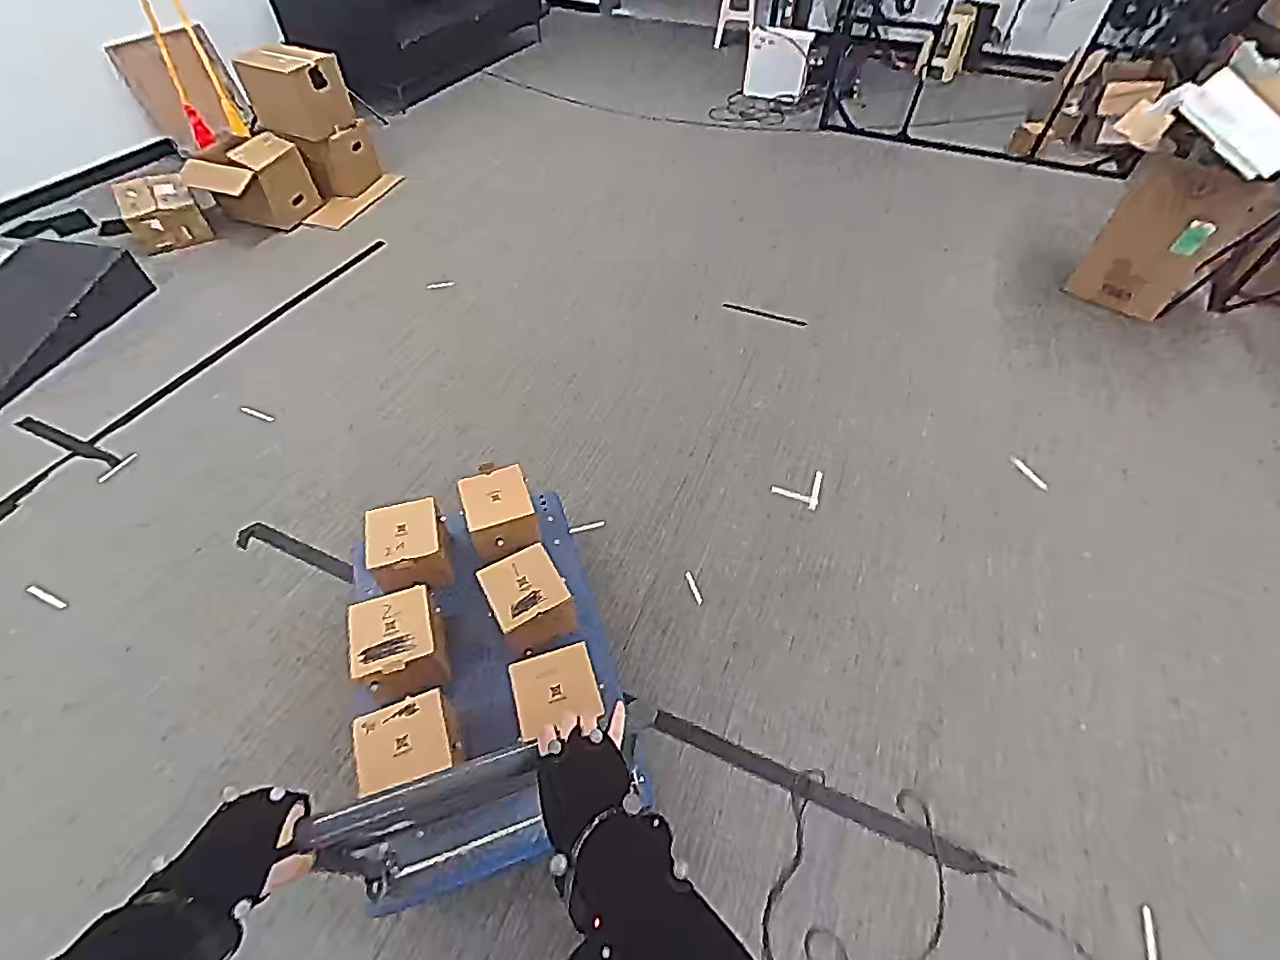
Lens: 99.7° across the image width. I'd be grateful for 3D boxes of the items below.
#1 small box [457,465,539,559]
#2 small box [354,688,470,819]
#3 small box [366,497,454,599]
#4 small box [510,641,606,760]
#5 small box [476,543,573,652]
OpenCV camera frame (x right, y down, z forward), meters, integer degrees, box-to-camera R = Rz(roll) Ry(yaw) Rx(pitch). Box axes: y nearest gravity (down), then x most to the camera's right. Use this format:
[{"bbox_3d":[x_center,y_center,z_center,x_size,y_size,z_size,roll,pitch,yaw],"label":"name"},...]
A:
[{"bbox_3d":[-0.379,0.093,1.458,0.168,0.176,0.179,-17,54,-15],"label":"small box"},{"bbox_3d":[-0.450,0.551,1.081,0.168,0.176,0.179,-17,54,-17],"label":"small box"},{"bbox_3d":[-0.584,0.175,1.380,0.168,0.176,0.179,-13,54,-13],"label":"small box"},{"bbox_3d":[-0.172,0.478,1.157,0.168,0.176,0.179,-13,52,-14],"label":"small box"},{"bbox_3d":[-0.271,0.290,1.303,0.168,0.176,0.179,-24,55,-21],"label":"small box"}]
